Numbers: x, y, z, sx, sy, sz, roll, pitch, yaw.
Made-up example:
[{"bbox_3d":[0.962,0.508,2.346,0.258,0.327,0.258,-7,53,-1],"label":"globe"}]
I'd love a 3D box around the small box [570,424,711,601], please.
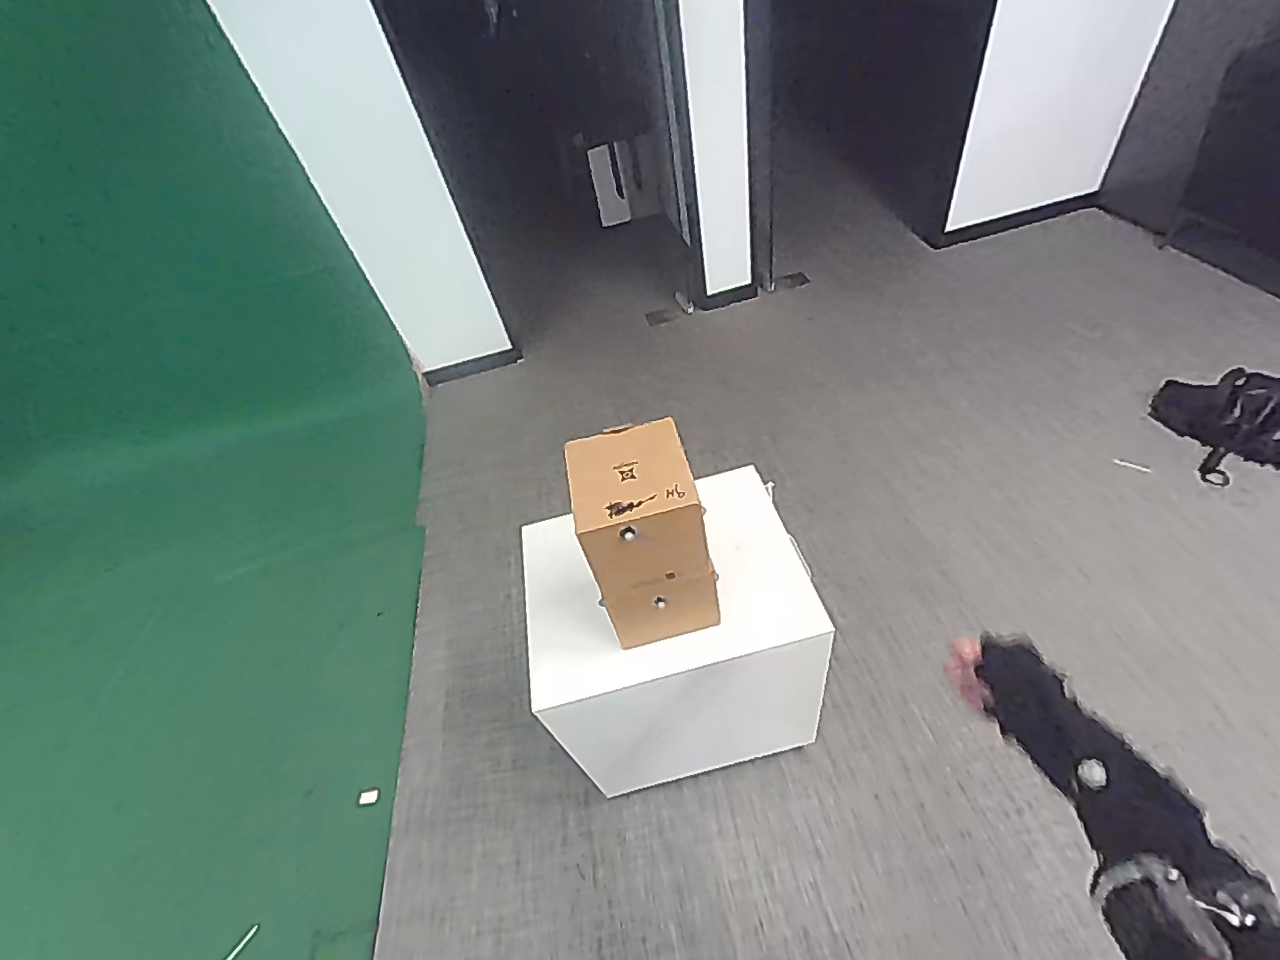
[{"bbox_3d":[0.001,0.049,0.806,0.168,0.176,0.179,-15,47,-2],"label":"small box"}]

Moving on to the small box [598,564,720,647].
[{"bbox_3d":[0.028,0.161,0.919,0.179,0.176,0.168,-14,46,-1],"label":"small box"}]
